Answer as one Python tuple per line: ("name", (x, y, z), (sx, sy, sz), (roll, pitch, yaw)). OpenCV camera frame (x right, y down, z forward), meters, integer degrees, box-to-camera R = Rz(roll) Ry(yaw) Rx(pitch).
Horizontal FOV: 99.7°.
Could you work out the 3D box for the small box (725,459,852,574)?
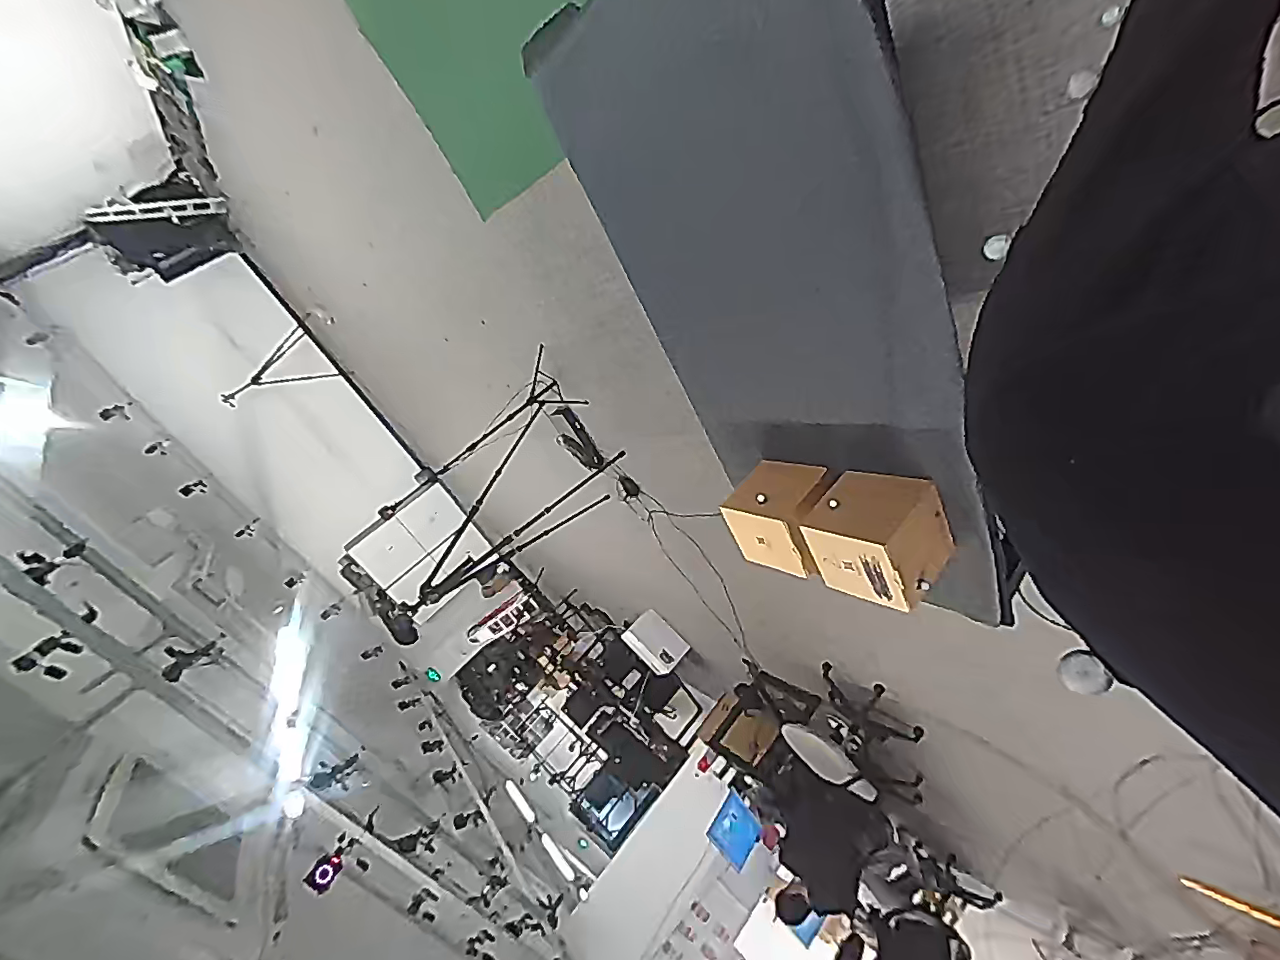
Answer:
("small box", (0.323, 0.069, 1.168), (0.179, 0.176, 0.168), (11, 139, 52))
